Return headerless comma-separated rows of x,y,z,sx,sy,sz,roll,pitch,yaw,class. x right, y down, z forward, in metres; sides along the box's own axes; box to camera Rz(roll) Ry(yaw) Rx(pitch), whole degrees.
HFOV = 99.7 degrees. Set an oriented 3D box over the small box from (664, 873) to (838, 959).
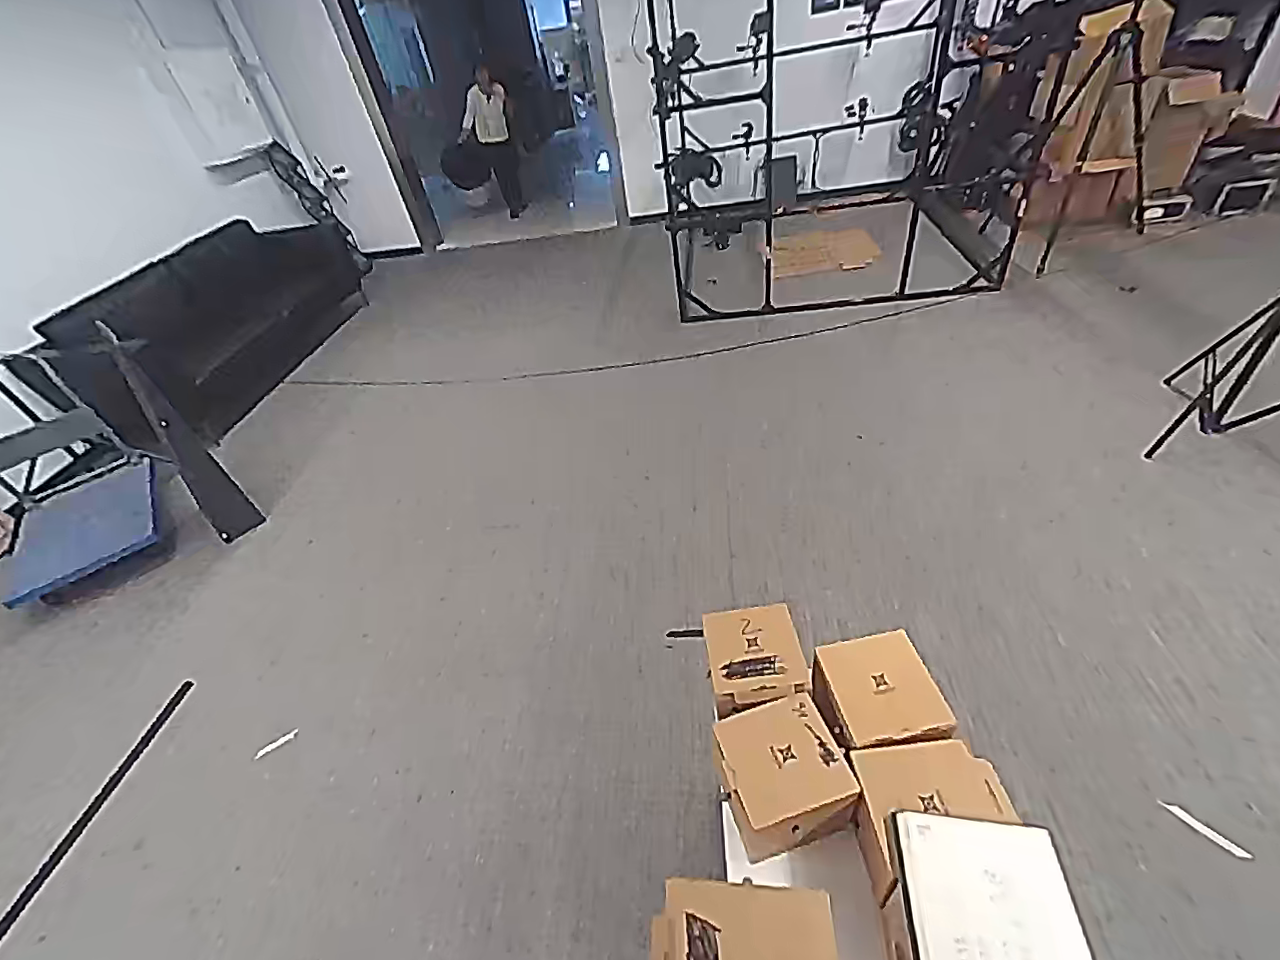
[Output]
0.113,0.547,0.587,0.179,0.176,0.168,2,47,4,small box
